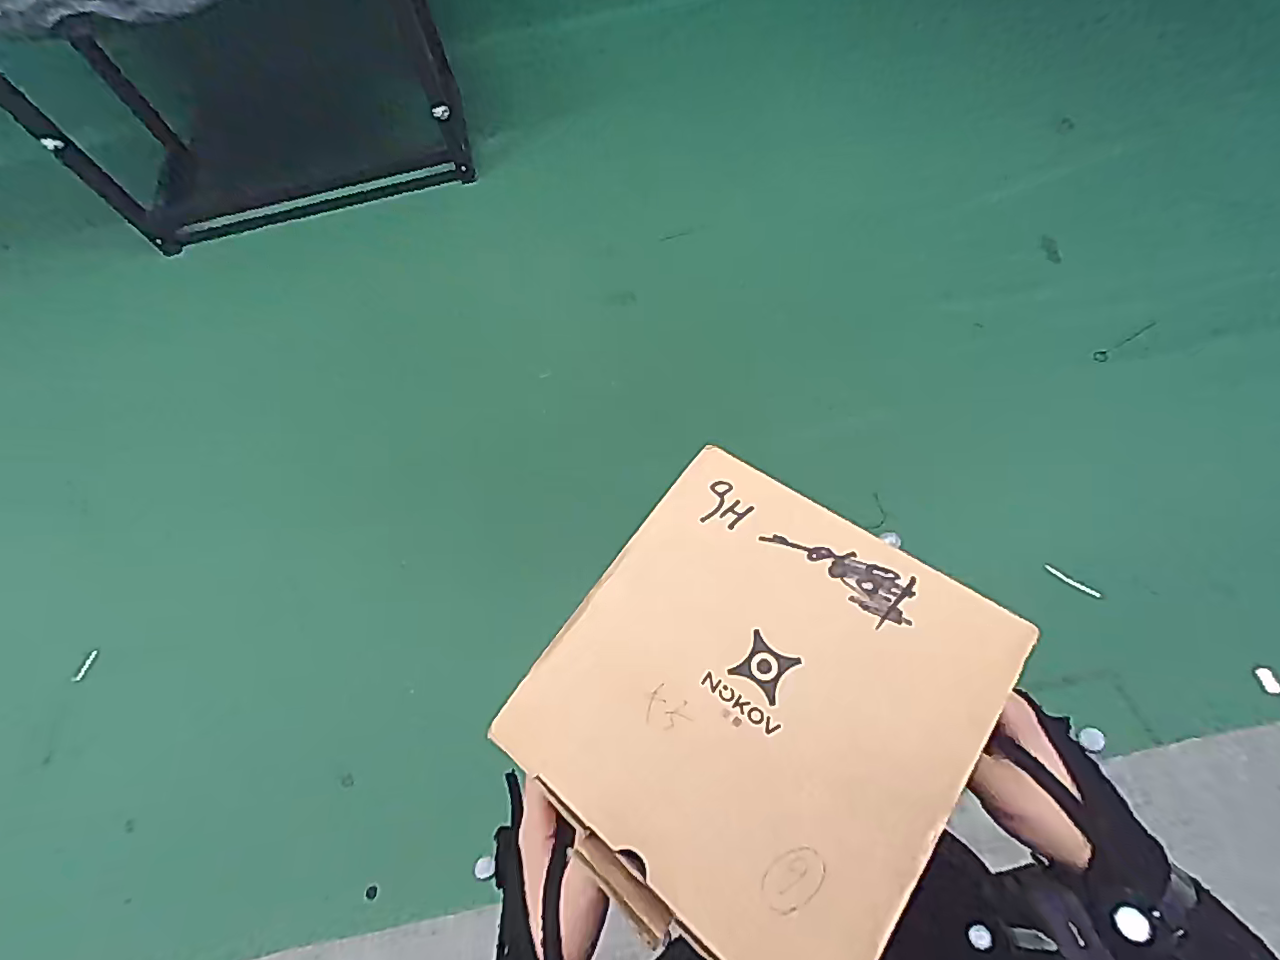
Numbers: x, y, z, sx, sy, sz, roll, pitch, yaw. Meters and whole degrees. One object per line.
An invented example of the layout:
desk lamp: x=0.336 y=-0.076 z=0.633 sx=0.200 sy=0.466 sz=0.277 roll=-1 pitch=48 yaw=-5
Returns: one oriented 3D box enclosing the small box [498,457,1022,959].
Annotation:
small box: x=0.062 y=0.126 z=0.307 sx=0.168 sy=0.176 sz=0.179 roll=33 pitch=75 yaw=23
